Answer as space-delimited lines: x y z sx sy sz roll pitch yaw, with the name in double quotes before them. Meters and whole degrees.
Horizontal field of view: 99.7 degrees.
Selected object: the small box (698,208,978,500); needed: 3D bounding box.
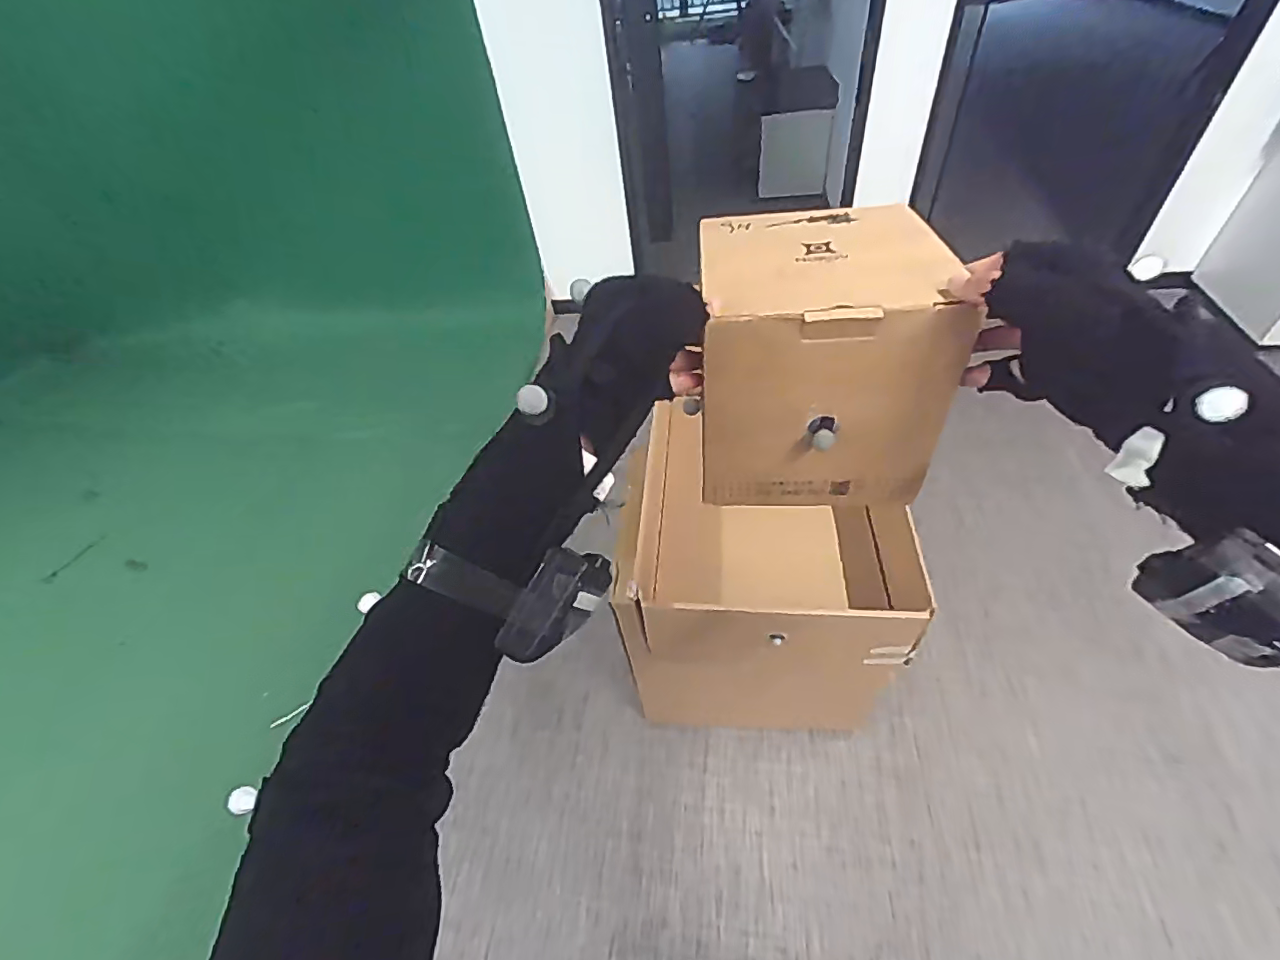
"small box" 0.133 -0.097 0.437 0.168 0.176 0.179 -1 44 7
